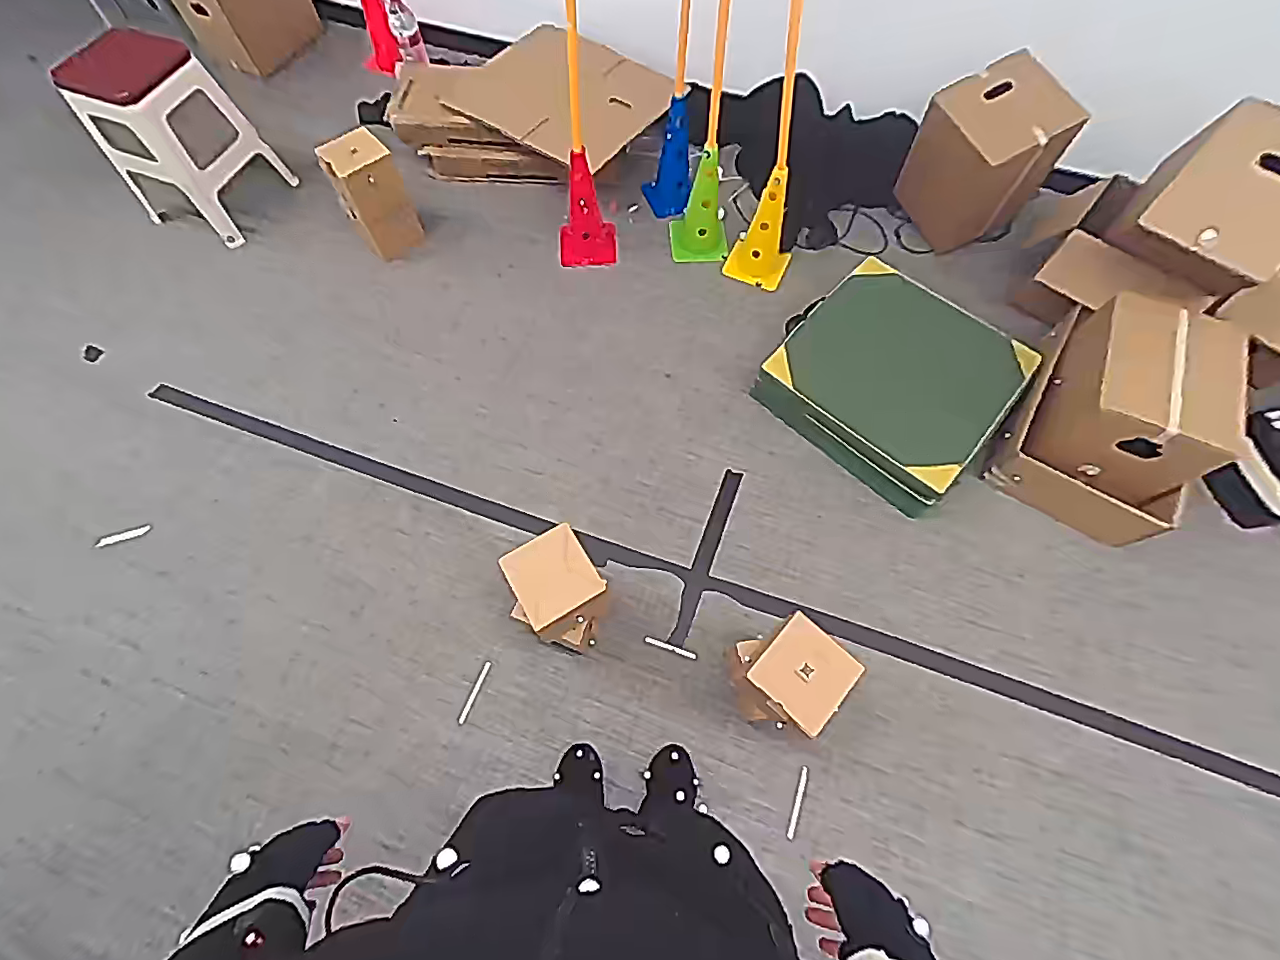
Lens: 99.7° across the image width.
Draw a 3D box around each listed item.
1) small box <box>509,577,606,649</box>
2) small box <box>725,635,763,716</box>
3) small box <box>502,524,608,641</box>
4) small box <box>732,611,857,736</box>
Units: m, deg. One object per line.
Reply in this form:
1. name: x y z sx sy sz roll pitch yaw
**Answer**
1. small box: -0.194 0.306 1.342 0.179 0.176 0.168 21 67 9
2. small box: 0.306 0.460 1.283 0.179 0.176 0.168 -8 68 -4
3. small box: -0.187 0.227 1.194 0.168 0.176 0.179 -30 69 -14
4. small box: 0.310 0.405 1.129 0.168 0.176 0.179 42 71 14
